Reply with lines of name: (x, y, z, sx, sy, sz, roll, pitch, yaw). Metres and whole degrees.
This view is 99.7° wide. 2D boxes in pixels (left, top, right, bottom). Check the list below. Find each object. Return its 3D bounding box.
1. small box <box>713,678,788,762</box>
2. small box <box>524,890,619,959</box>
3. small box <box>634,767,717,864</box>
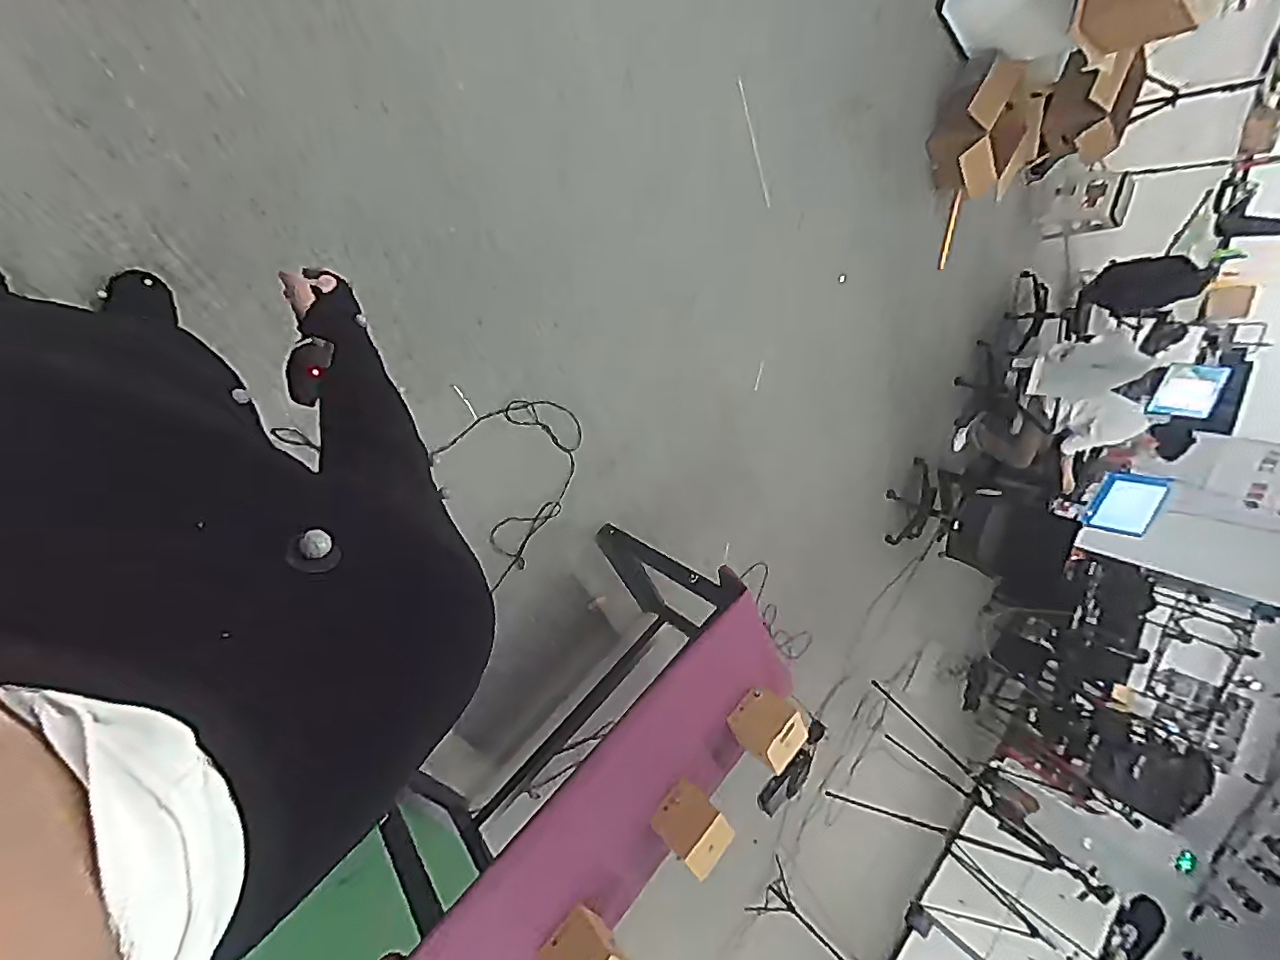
small box: (0.368, 0.797, 1.817, 0.168, 0.176, 0.179, -41, 129, -21)
small box: (-0.194, 1.306, 1.521, 0.168, 0.176, 0.179, -42, 130, -23)
small box: (0.110, 1.041, 1.689, 0.168, 0.176, 0.179, -41, 128, -23)
